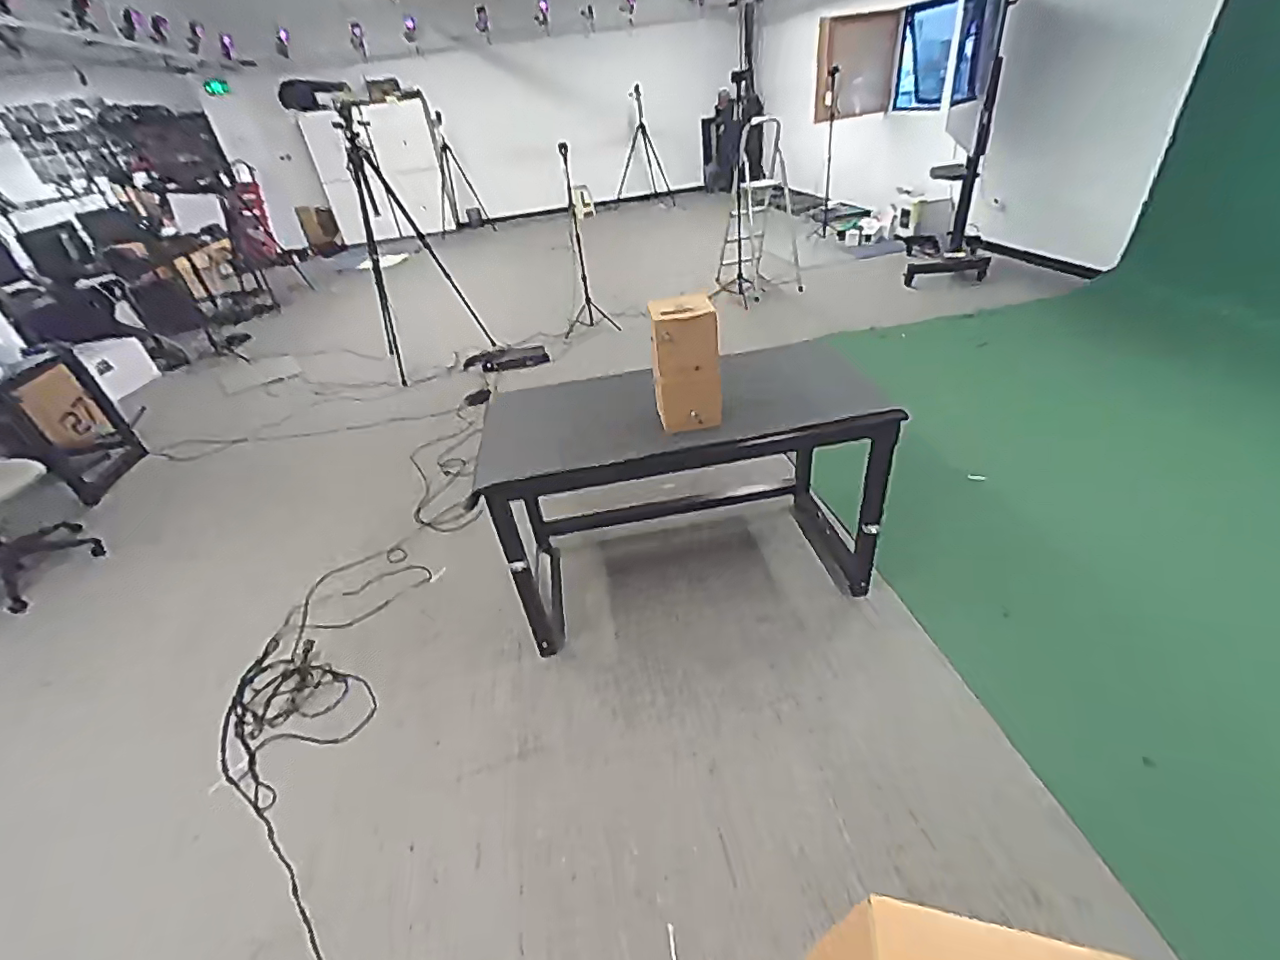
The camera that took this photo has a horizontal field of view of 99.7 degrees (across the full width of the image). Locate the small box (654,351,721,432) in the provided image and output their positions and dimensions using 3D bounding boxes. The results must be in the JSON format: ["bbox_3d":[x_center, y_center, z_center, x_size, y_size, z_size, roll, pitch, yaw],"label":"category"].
[{"bbox_3d":[0.137,-0.261,1.583,0.168,0.176,0.179,-10,34,-2],"label":"small box"}]
